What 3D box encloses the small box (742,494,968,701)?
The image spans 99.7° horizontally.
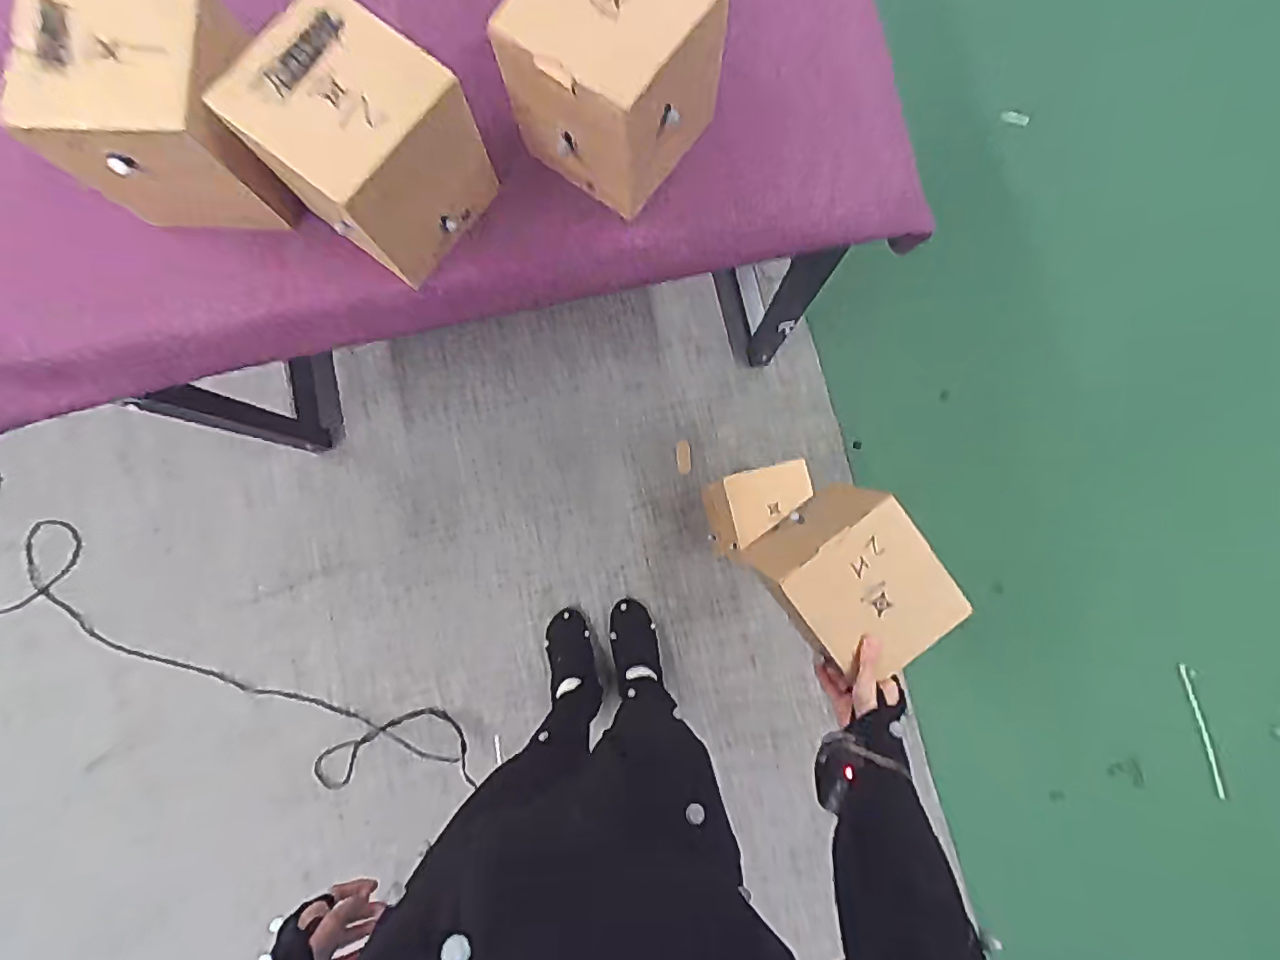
[{"bbox_3d":[0.260,0.135,0.693,0.168,0.176,0.179,-37,96,-3],"label":"small box"}]

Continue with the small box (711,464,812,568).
[{"bbox_3d":[0.252,0.077,1.112,0.168,0.176,0.179,-13,85,-2],"label":"small box"}]

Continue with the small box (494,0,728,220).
[{"bbox_3d":[-0.025,-0.435,0.599,0.168,0.176,0.179,36,85,5],"label":"small box"}]

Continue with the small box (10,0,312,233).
[{"bbox_3d":[-0.505,-0.395,0.597,0.179,0.176,0.168,1,84,-1],"label":"small box"}]

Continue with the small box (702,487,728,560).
[{"bbox_3d":[0.246,0.093,1.273,0.179,0.176,0.168,-11,84,-2],"label":"small box"}]
